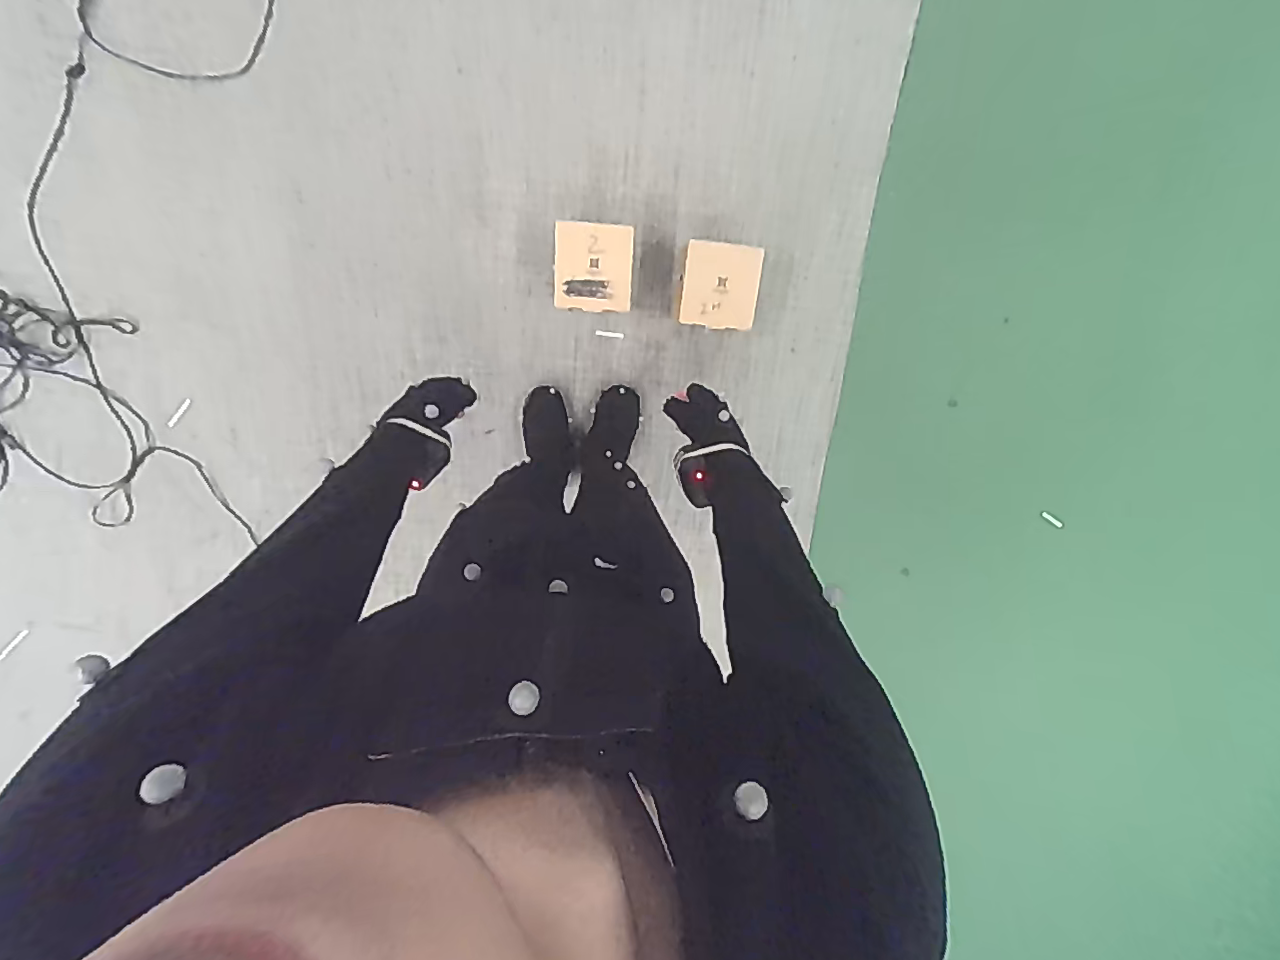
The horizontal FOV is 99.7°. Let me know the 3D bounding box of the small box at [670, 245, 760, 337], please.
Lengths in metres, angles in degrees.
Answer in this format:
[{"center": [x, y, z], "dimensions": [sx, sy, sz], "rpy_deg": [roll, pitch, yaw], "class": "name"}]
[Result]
[{"center": [0.167, -0.434, 1.261], "dimensions": [0.168, 0.176, 0.179], "rpy_deg": [6, 106, -4], "class": "small box"}]
